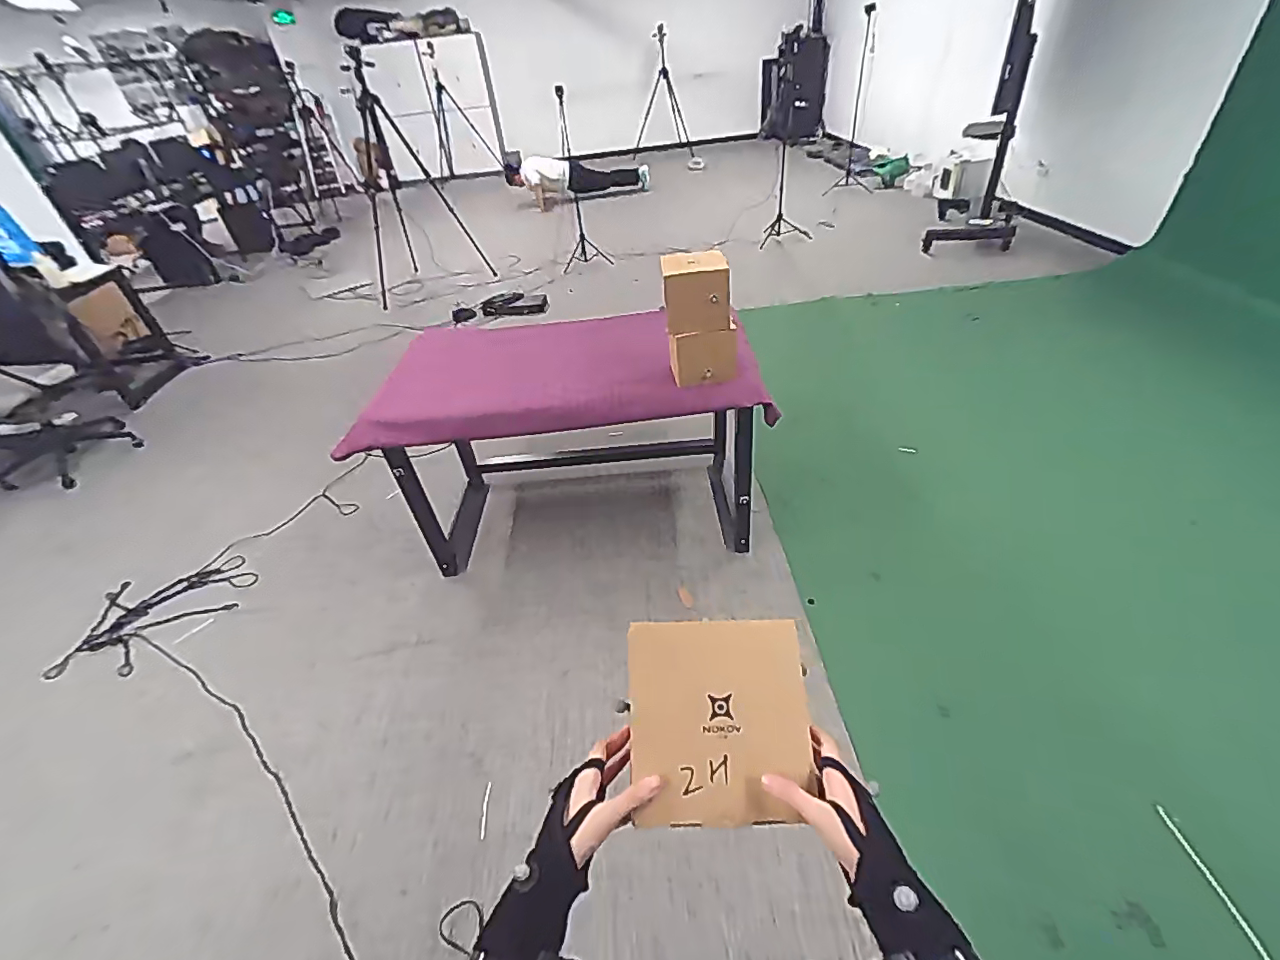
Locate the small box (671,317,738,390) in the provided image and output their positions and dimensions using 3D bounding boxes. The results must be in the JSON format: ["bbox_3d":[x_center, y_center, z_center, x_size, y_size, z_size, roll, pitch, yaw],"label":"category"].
[{"bbox_3d":[0.186,-0.386,1.597,0.179,0.176,0.168,-9,39,0],"label":"small box"}]

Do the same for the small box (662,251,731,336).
[{"bbox_3d":[0.156,-0.516,1.501,0.179,0.176,0.168,-5,39,5],"label":"small box"}]

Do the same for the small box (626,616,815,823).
[{"bbox_3d":[0.068,0.247,0.574,0.168,0.176,0.179,-1,67,-1],"label":"small box"}]
